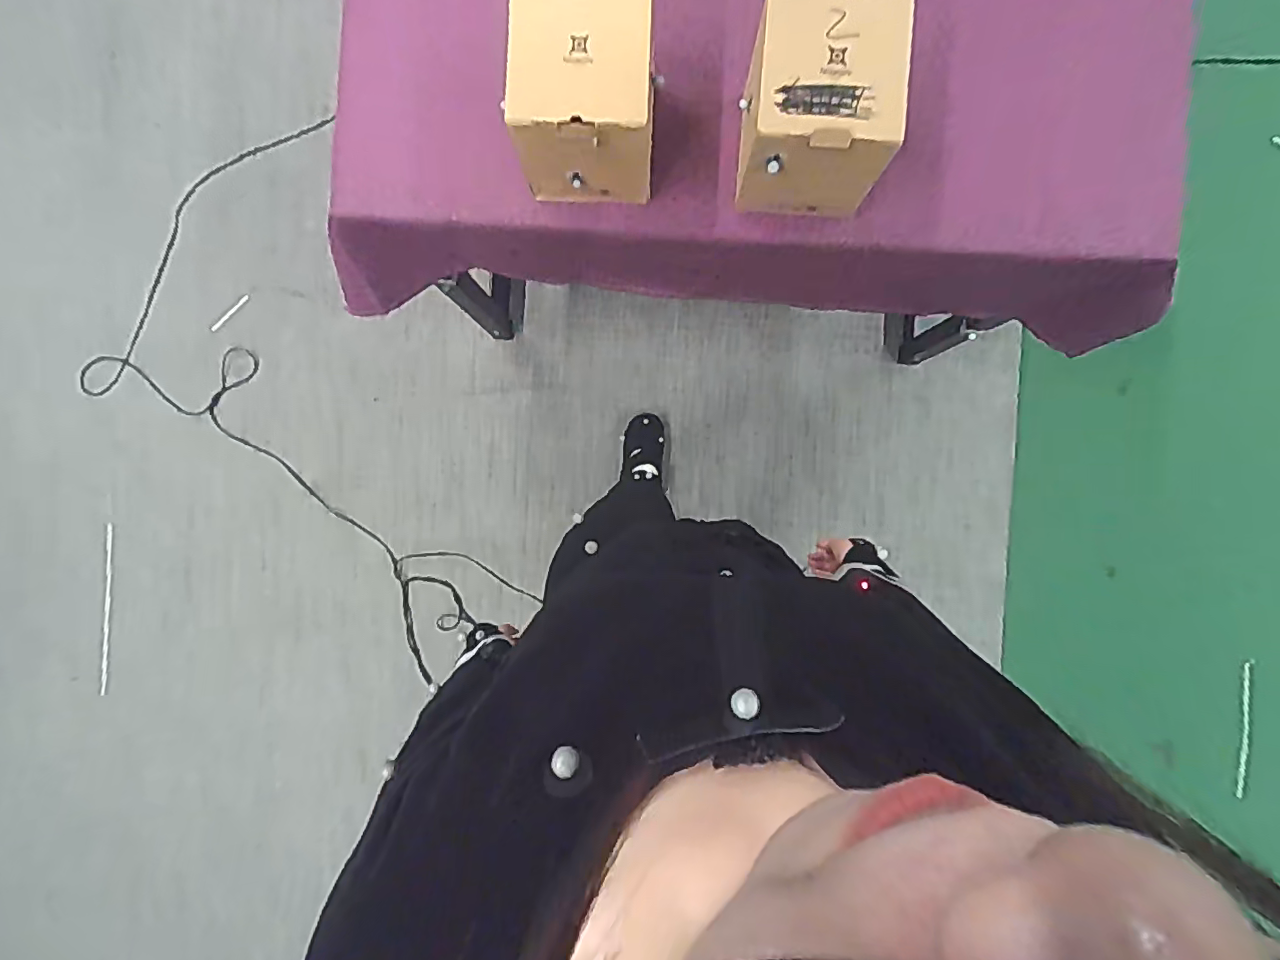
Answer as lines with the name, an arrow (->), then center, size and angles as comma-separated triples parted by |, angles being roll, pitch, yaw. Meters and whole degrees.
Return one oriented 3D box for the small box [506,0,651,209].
small box -> -0.072, -0.489, 0.715 | 0.168, 0.176, 0.179 | 2, 90, 1
